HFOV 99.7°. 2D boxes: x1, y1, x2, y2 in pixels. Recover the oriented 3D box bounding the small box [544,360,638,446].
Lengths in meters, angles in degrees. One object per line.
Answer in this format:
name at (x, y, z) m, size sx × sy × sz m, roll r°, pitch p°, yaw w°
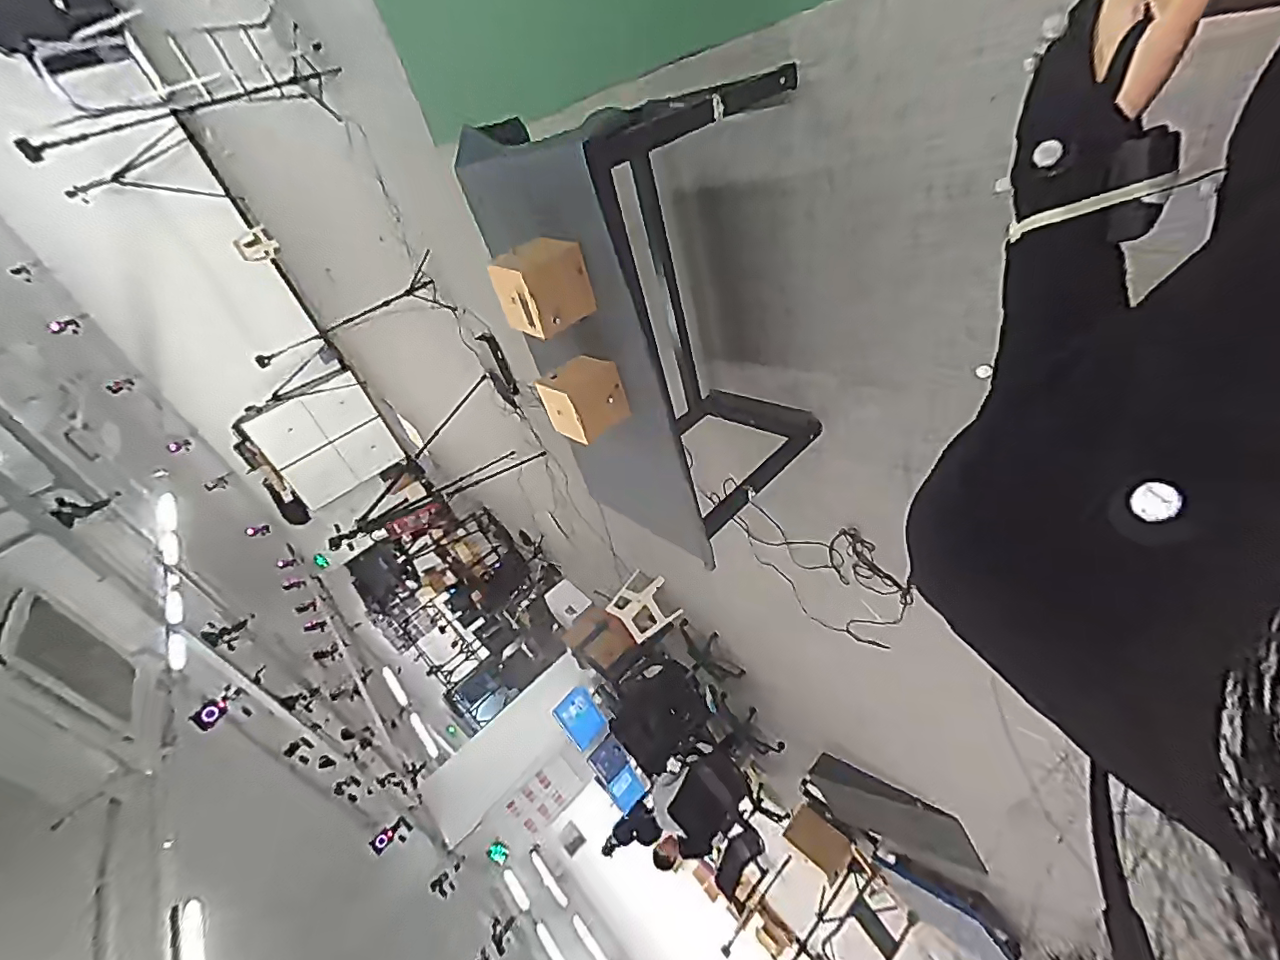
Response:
small box at (-0.134, -0.224, 1.526) m, size 0.179 × 0.176 × 0.168 m, roll 25°, pitch 145°, yaw 46°
